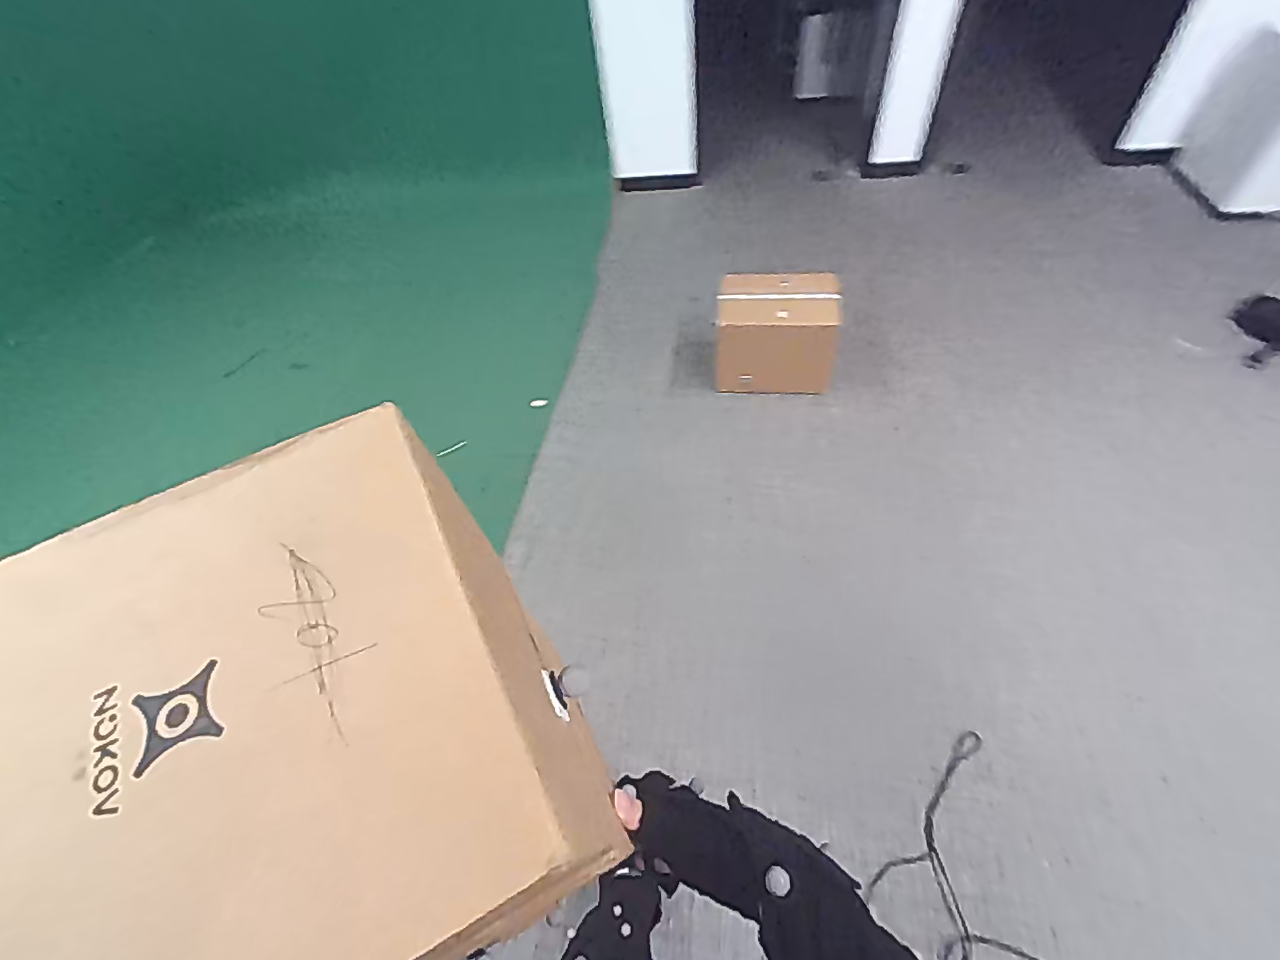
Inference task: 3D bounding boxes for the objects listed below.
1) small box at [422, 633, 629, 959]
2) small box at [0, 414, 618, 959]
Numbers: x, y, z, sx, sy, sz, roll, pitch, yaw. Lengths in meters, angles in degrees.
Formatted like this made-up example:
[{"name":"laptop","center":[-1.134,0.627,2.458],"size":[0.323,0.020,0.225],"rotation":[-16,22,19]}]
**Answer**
[{"name":"small box","center":[-0.115,0.200,0.362],"size":[0.179,0.176,0.168],"rotation":[-25,60,-9]},{"name":"small box","center":[-0.123,0.110,0.228],"size":[0.179,0.176,0.168],"rotation":[-25,62,-12]}]
